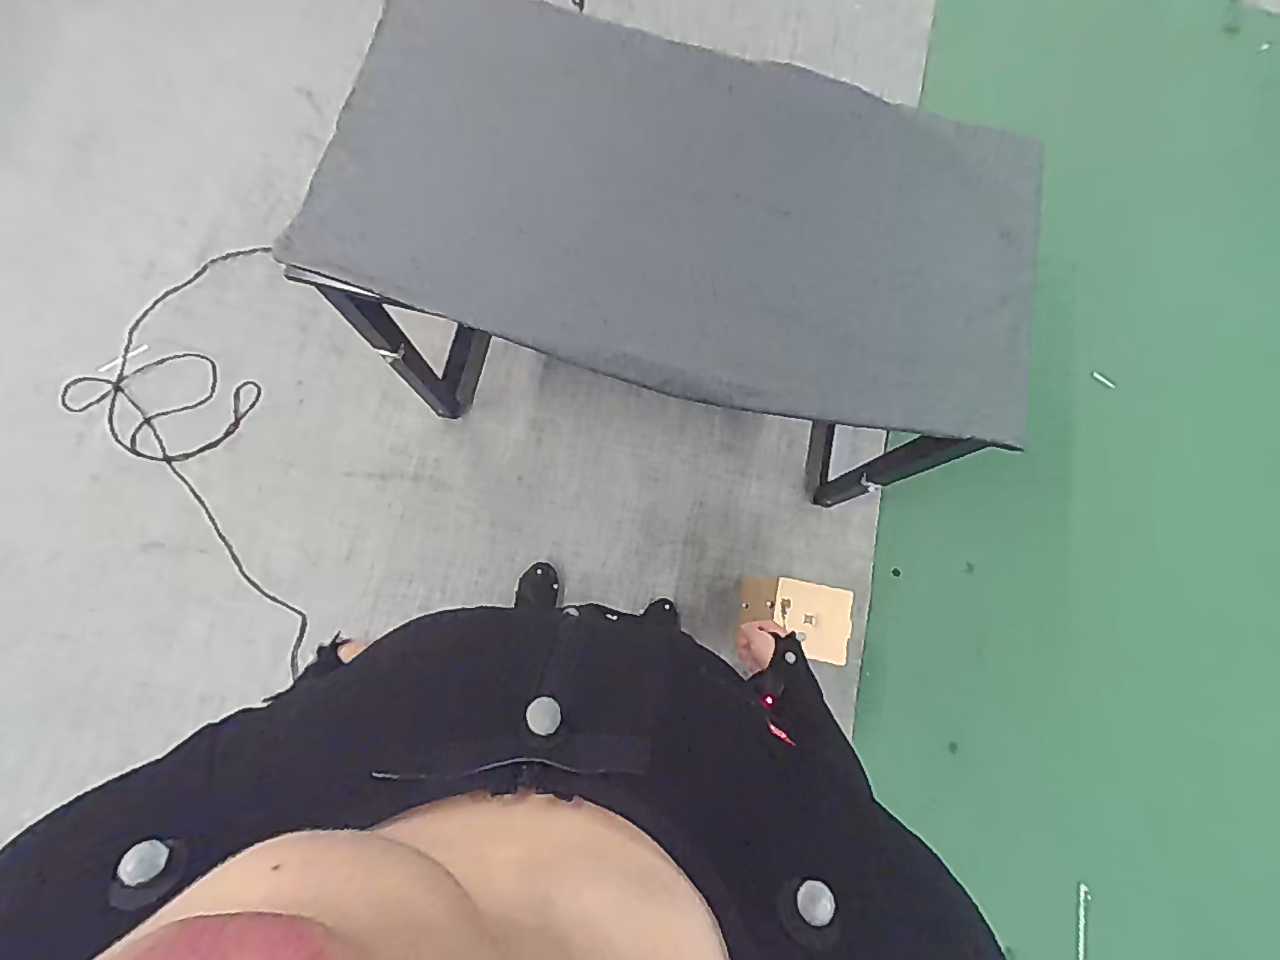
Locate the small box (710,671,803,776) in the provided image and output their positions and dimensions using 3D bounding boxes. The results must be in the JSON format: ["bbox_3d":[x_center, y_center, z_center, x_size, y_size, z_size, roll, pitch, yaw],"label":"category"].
[{"bbox_3d":[0.286,0.606,1.368,0.168,0.176,0.179,21,78,1],"label":"small box"}]

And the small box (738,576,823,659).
[{"bbox_3d":[0.363,0.358,1.423,0.168,0.176,0.179,11,77,-1],"label":"small box"}]
